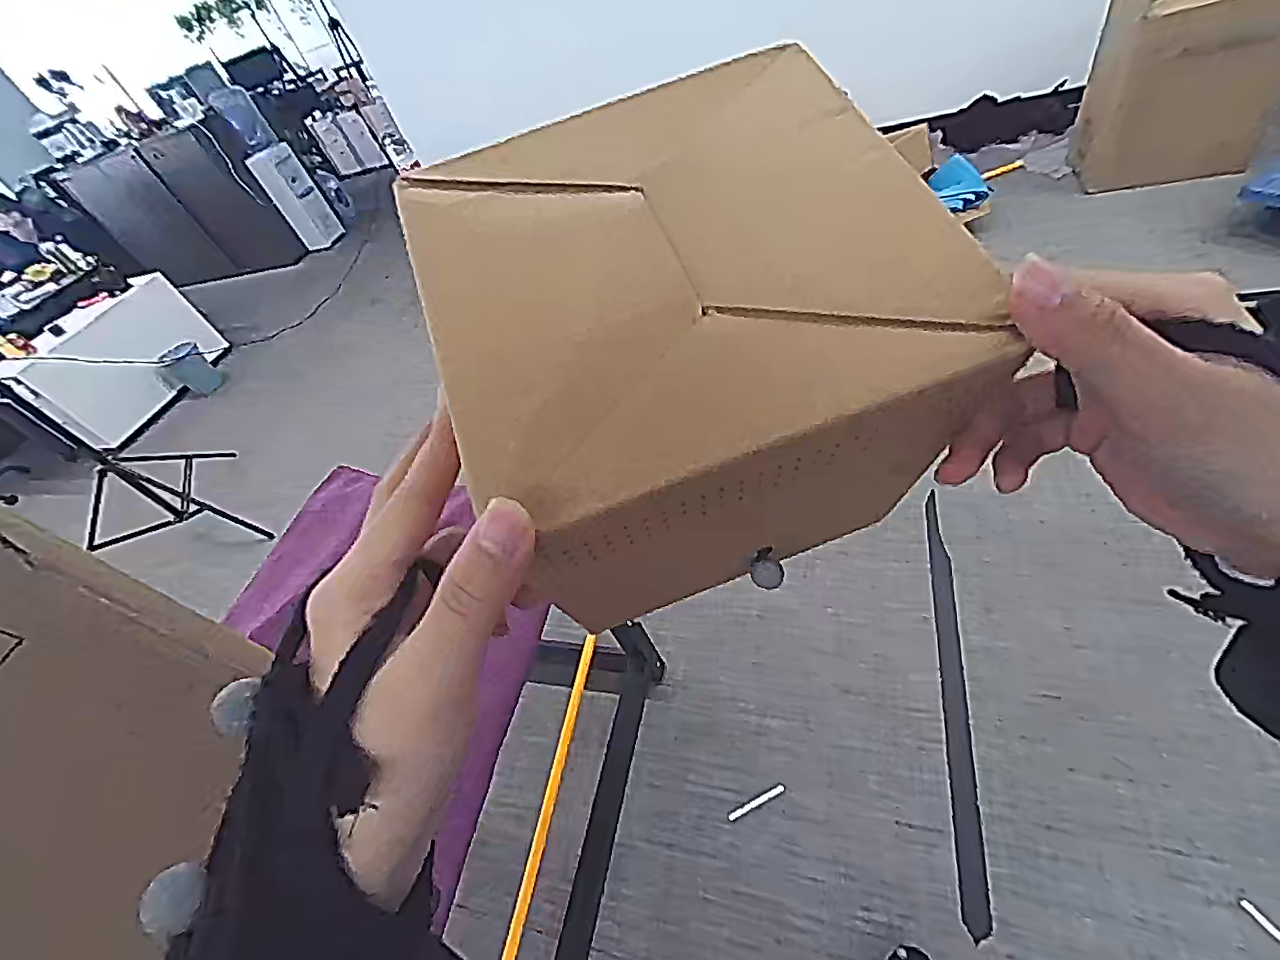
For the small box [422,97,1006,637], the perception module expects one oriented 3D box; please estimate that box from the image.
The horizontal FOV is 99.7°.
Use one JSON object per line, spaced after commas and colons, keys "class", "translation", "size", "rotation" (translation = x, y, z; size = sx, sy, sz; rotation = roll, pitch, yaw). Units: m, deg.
{"class": "small box", "translation": [0.020, -0.043, 0.265], "size": [0.179, 0.176, 0.168], "rotation": [-21, 65, -2]}
